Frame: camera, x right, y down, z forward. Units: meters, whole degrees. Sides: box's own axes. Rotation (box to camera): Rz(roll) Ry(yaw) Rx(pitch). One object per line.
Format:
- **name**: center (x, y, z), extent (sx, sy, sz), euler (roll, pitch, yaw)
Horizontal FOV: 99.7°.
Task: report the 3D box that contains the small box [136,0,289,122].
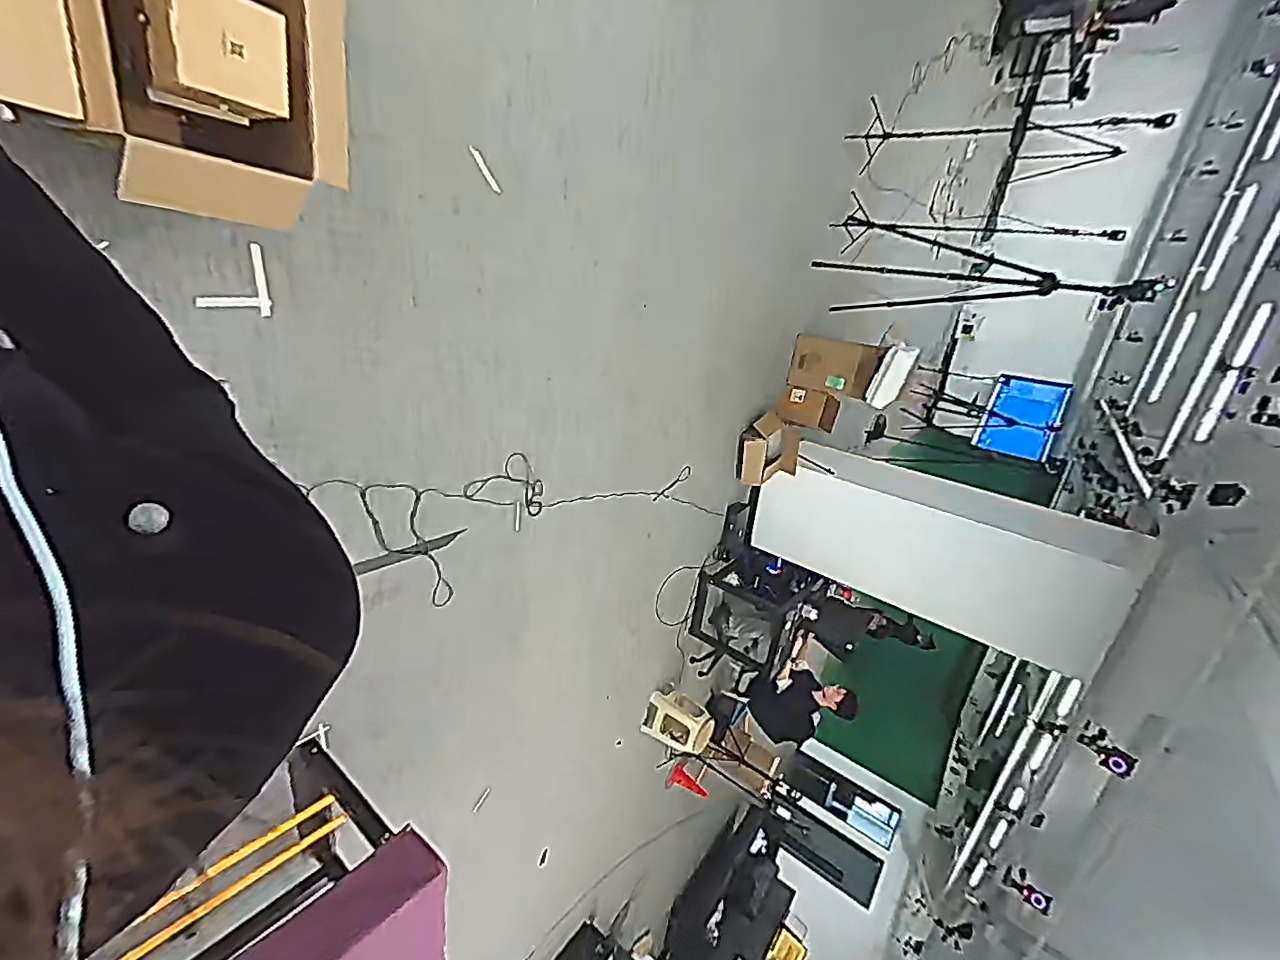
- **small box**: center (-0.782, -0.784, 0.995), extent (0.179, 0.176, 0.168), euler (-17, 124, -52)
